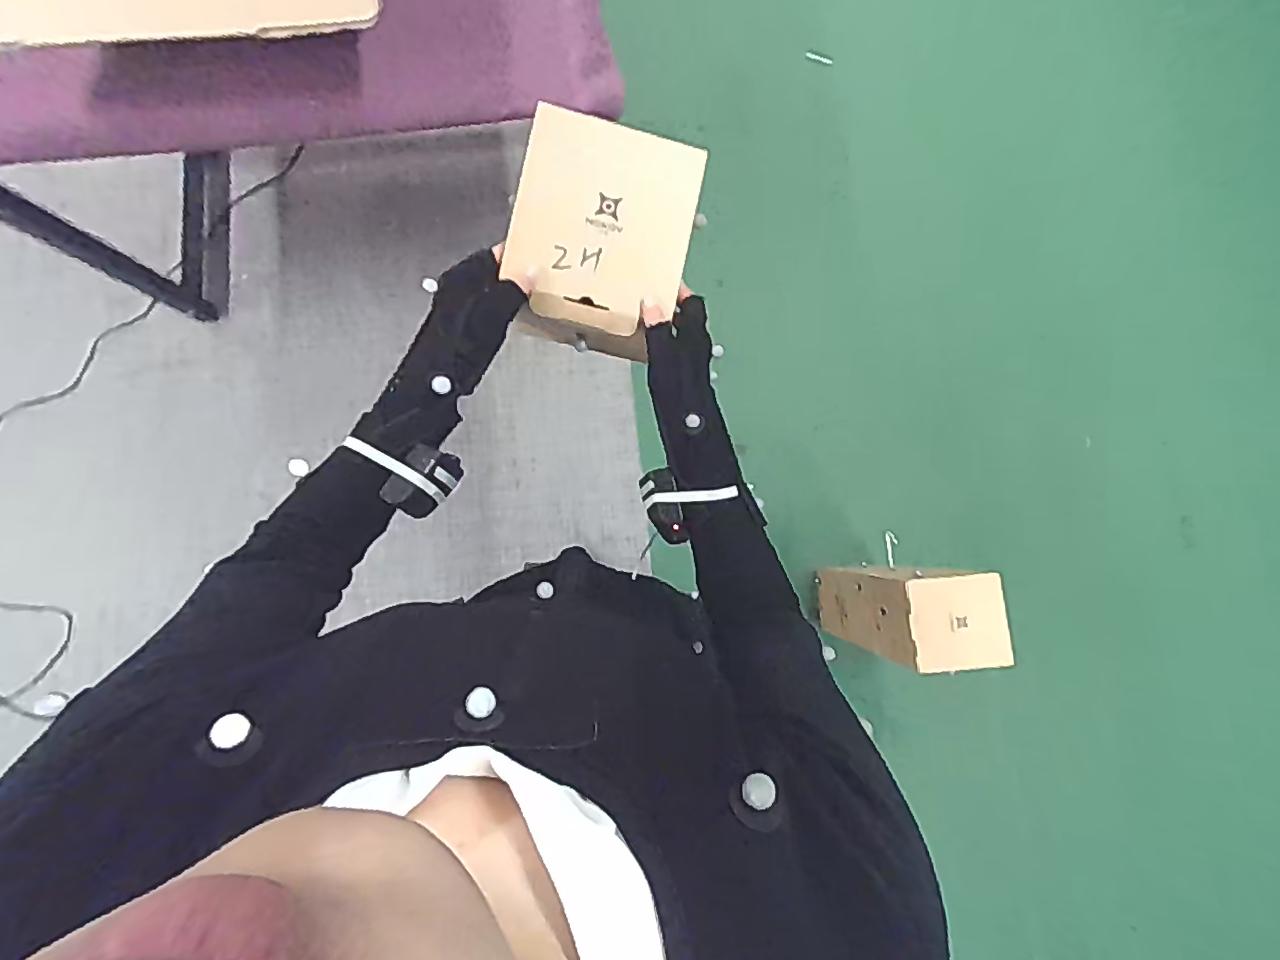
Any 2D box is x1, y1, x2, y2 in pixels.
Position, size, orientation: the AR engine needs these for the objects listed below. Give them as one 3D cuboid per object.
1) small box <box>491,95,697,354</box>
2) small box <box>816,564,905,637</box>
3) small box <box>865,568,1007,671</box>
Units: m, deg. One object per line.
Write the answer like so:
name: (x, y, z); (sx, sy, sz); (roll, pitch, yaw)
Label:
small box: (-0.051, -0.254, 0.584); (0.168, 0.176, 0.179); (12, 89, -7)
small box: (0.560, 0.304, 1.382); (0.179, 0.176, 0.168); (-3, 83, -1)
small box: (0.567, 0.263, 1.056); (0.179, 0.176, 0.168); (-5, 84, -1)
